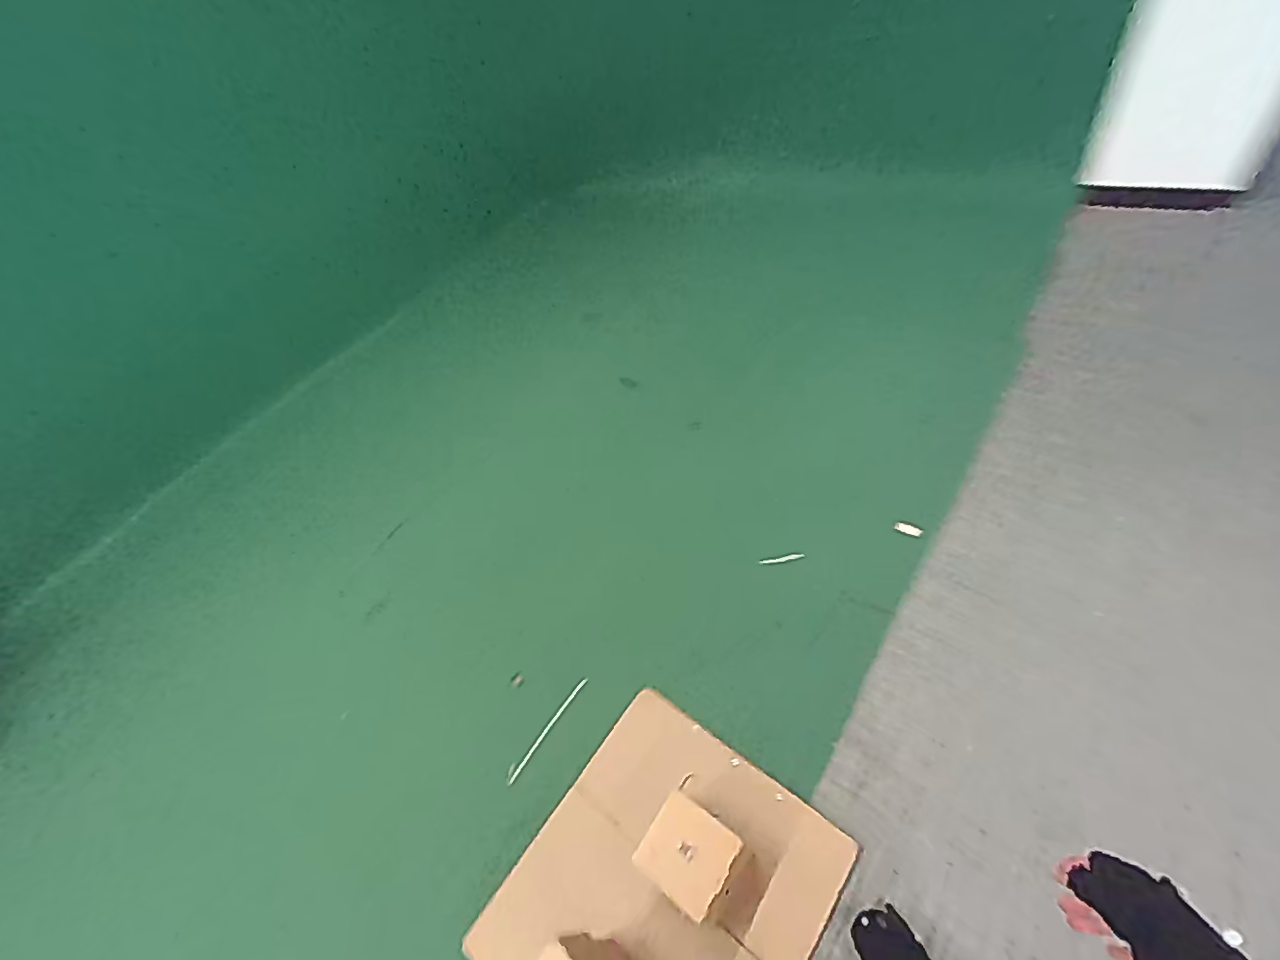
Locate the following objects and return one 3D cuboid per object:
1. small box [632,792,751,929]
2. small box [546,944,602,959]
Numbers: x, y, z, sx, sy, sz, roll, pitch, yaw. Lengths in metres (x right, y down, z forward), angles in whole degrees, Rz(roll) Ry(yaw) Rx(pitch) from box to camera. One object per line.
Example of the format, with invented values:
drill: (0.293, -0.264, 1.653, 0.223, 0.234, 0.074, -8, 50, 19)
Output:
small box: (0.115, 0.804, 1.141, 0.179, 0.176, 0.168, 23, 62, 32)
small box: (-0.115, 0.922, 0.899, 0.168, 0.176, 0.179, 27, 67, 34)
